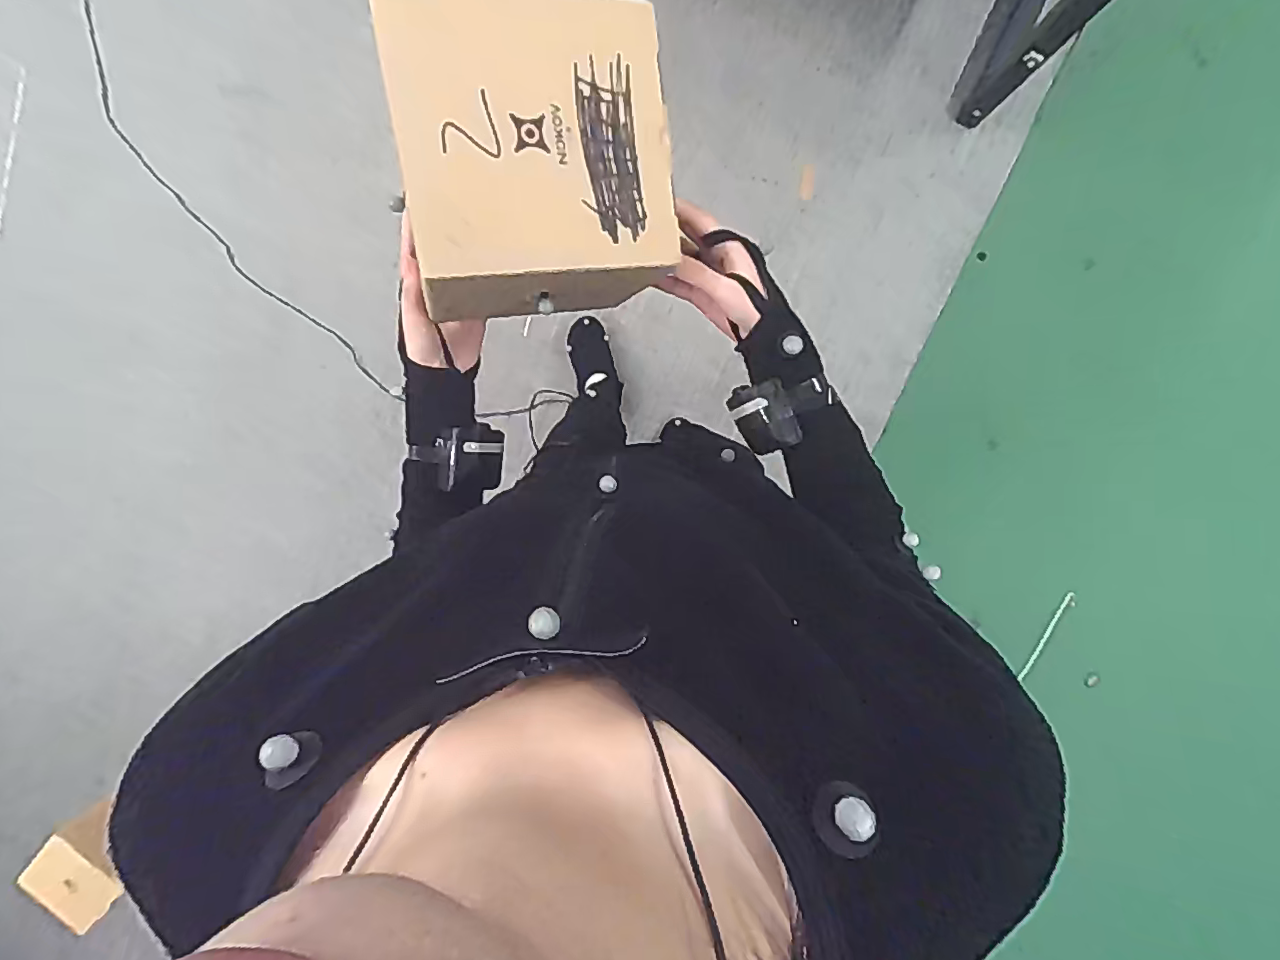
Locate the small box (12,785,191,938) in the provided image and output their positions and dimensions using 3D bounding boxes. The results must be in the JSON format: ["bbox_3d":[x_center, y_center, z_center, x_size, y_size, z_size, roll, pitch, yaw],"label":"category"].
[{"bbox_3d":[-1.119,0.785,1.138,0.179,0.176,0.168,43,100,-3],"label":"small box"}]
